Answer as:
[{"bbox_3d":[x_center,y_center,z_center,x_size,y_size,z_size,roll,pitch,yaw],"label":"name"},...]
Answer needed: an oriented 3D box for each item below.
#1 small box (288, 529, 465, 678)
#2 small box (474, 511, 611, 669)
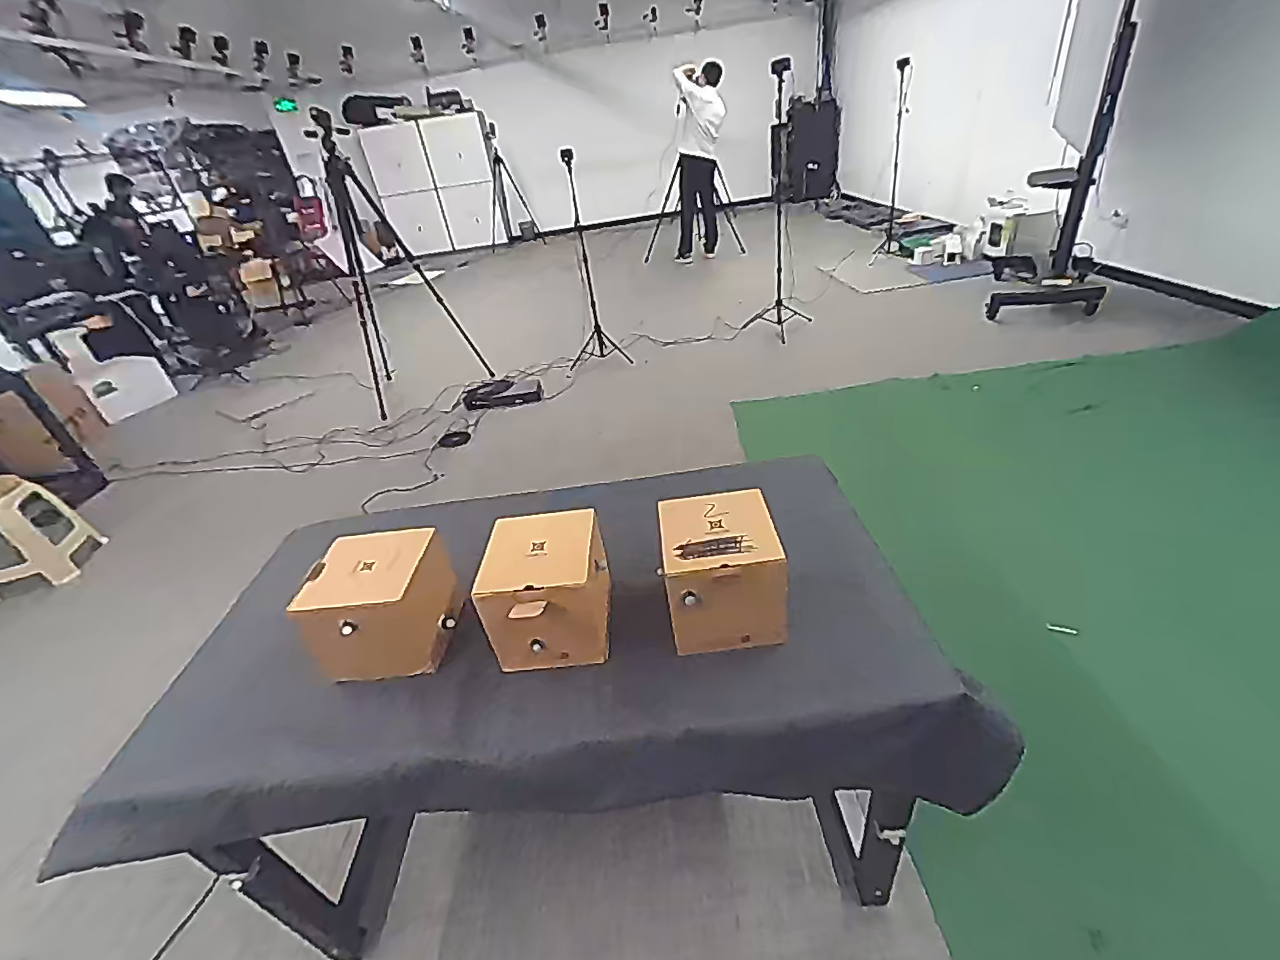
[{"bbox_3d":[-0.409,0.201,0.875,0.179,0.176,0.168,-6,34,3],"label":"small box"},{"bbox_3d":[-0.141,0.171,0.855,0.168,0.176,0.179,-7,33,3],"label":"small box"}]
